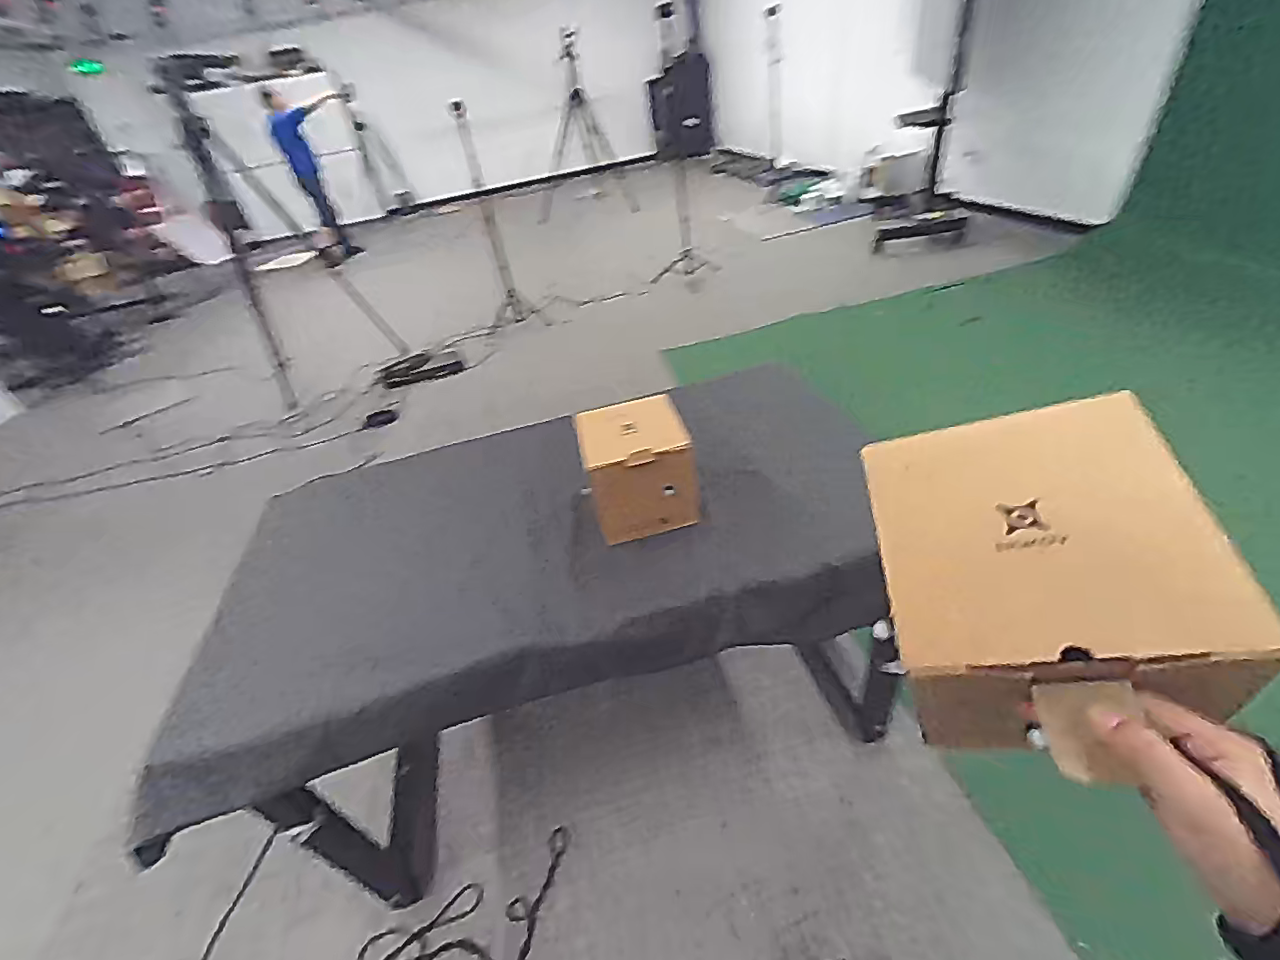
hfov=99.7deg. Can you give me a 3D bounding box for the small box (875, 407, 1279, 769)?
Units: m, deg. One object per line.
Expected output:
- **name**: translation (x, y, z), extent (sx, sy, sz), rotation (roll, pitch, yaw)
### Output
- **small box**: translation (0.271, 0.082, 0.375), extent (0.168, 0.176, 0.179), rotation (-12, 48, 24)

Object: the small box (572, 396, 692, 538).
- **small box**: translation (-0.013, -0.018, 0.933), extent (0.168, 0.176, 0.179), rotation (-13, 36, -5)
